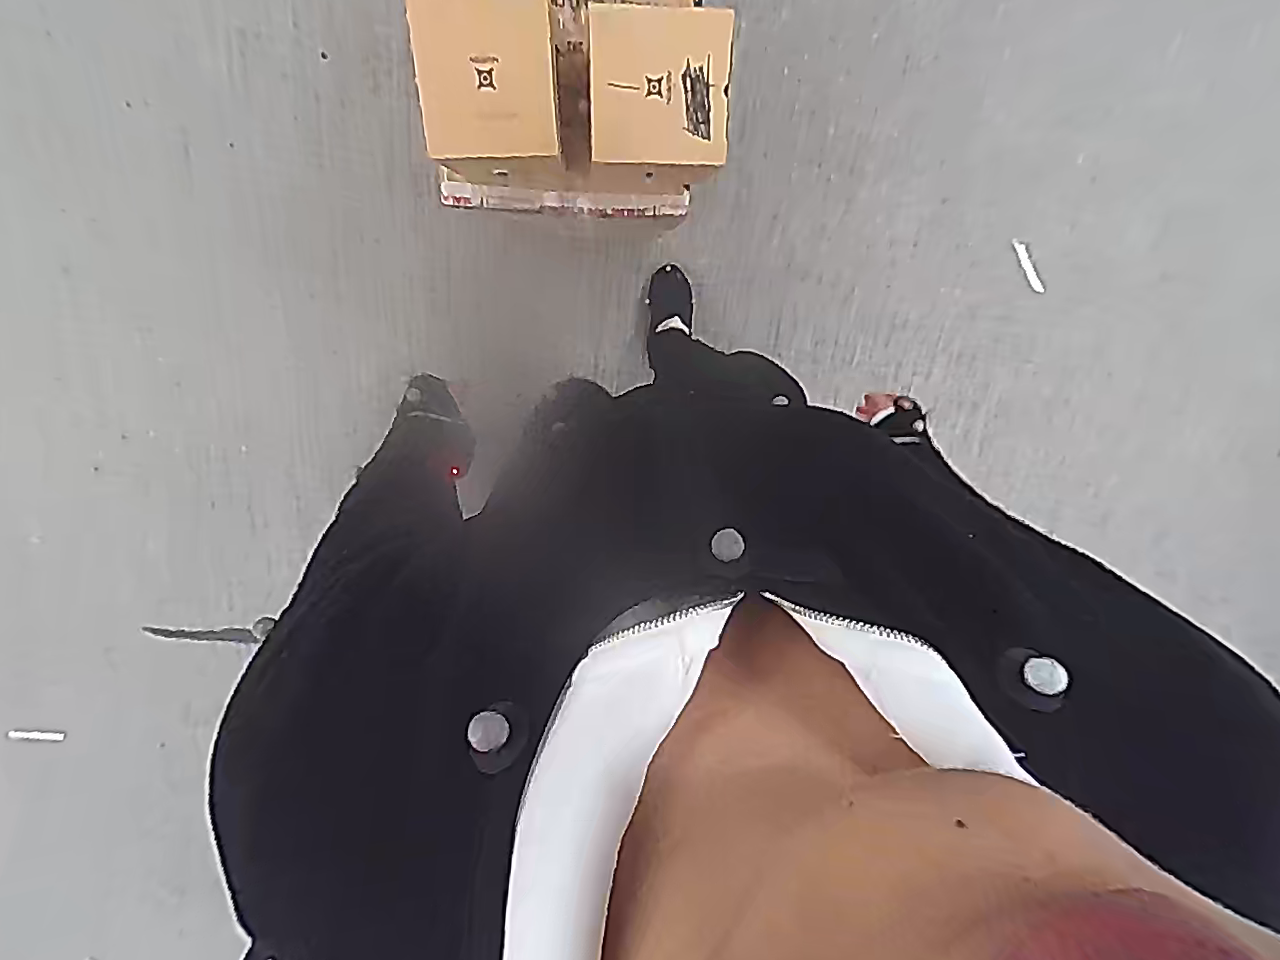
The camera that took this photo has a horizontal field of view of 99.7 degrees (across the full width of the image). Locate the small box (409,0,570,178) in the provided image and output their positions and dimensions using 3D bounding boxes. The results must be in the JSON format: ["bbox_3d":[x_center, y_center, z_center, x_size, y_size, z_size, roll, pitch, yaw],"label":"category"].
[{"bbox_3d":[-0.188,-0.520,0.727,0.168,0.176,0.179,-3,113,-1],"label":"small box"}]

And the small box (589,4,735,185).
[{"bbox_3d":[0.020,-0.512,0.743,0.179,0.176,0.168,-1,111,-5],"label":"small box"}]
